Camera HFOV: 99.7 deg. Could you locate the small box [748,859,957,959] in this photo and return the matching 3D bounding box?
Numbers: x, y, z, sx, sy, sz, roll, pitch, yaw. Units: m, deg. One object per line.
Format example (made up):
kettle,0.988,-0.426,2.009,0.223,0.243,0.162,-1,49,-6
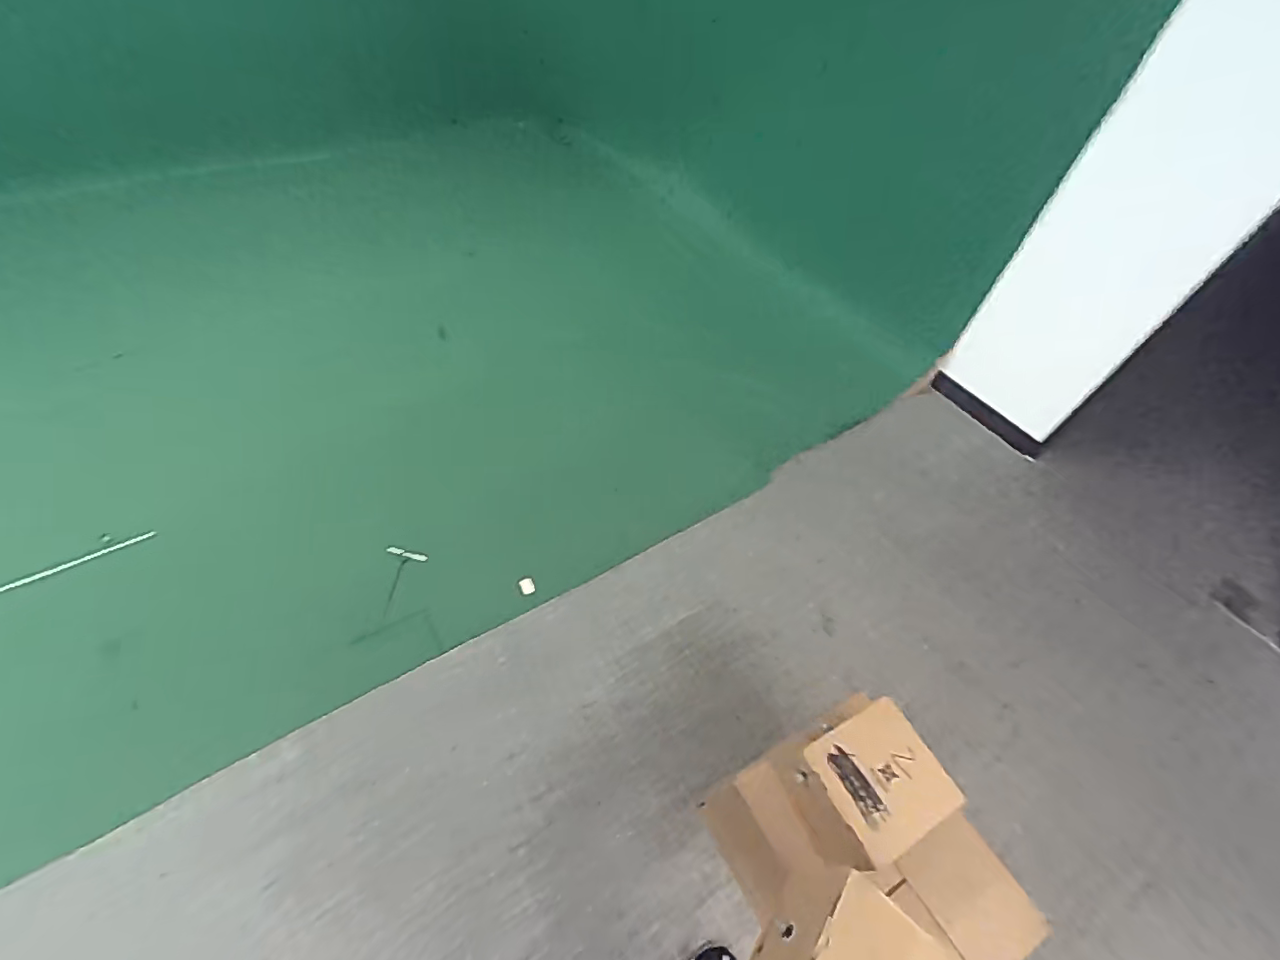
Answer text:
small box,0.240,0.592,0.632,0.179,0.176,0.168,37,53,16
